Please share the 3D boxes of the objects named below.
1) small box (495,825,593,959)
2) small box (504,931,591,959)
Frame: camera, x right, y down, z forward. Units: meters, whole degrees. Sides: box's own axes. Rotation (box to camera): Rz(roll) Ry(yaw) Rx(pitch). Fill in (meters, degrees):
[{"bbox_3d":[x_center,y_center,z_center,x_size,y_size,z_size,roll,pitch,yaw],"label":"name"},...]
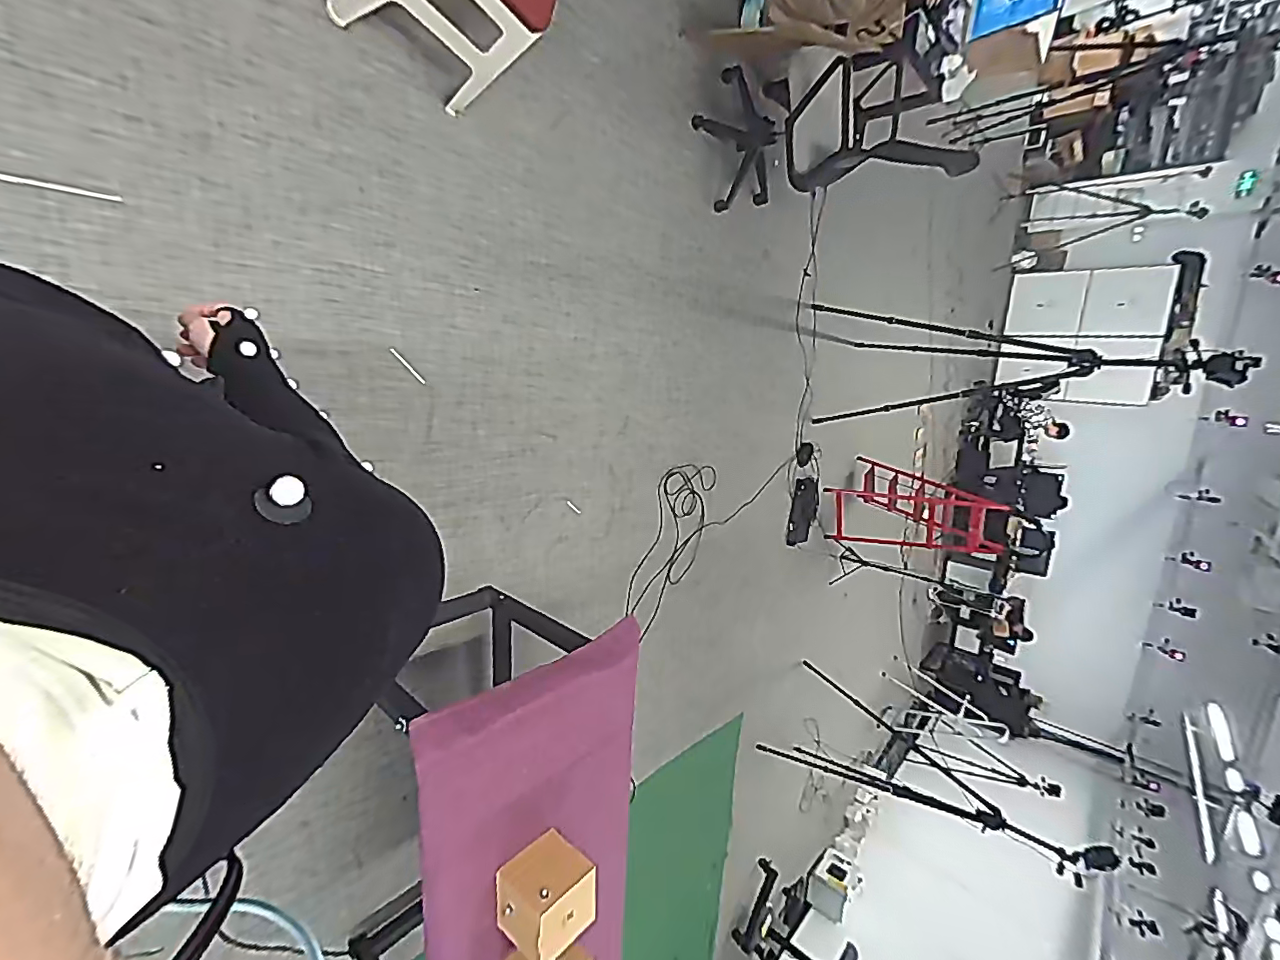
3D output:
[{"bbox_3d":[-0.237,1.008,1.338,0.179,0.176,0.168,-12,109,-46],"label":"small box"},{"bbox_3d":[-0.247,1.289,1.397,0.179,0.176,0.168,-9,107,-48],"label":"small box"}]
